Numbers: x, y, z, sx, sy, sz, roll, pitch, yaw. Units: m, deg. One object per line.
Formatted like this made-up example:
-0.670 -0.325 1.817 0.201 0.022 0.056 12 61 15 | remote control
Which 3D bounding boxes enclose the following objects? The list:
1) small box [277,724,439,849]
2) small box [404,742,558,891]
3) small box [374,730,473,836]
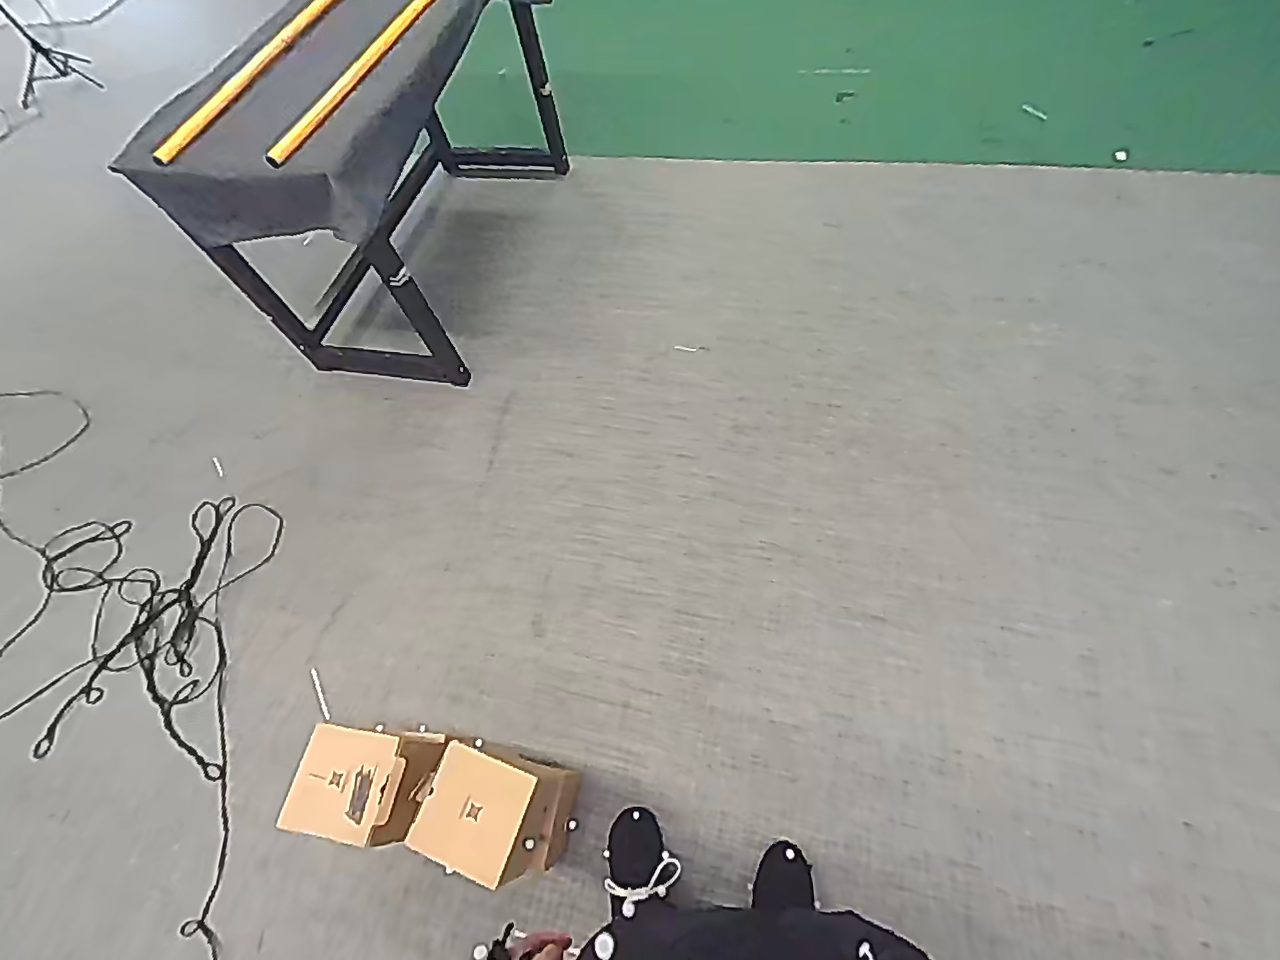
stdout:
-0.500 0.555 0.991 0.179 0.176 0.168 4 61 11 | small box
-0.265 0.578 0.952 0.179 0.176 0.168 14 65 15 | small box
-0.468 0.632 1.135 0.168 0.176 0.179 0 61 8 | small box
